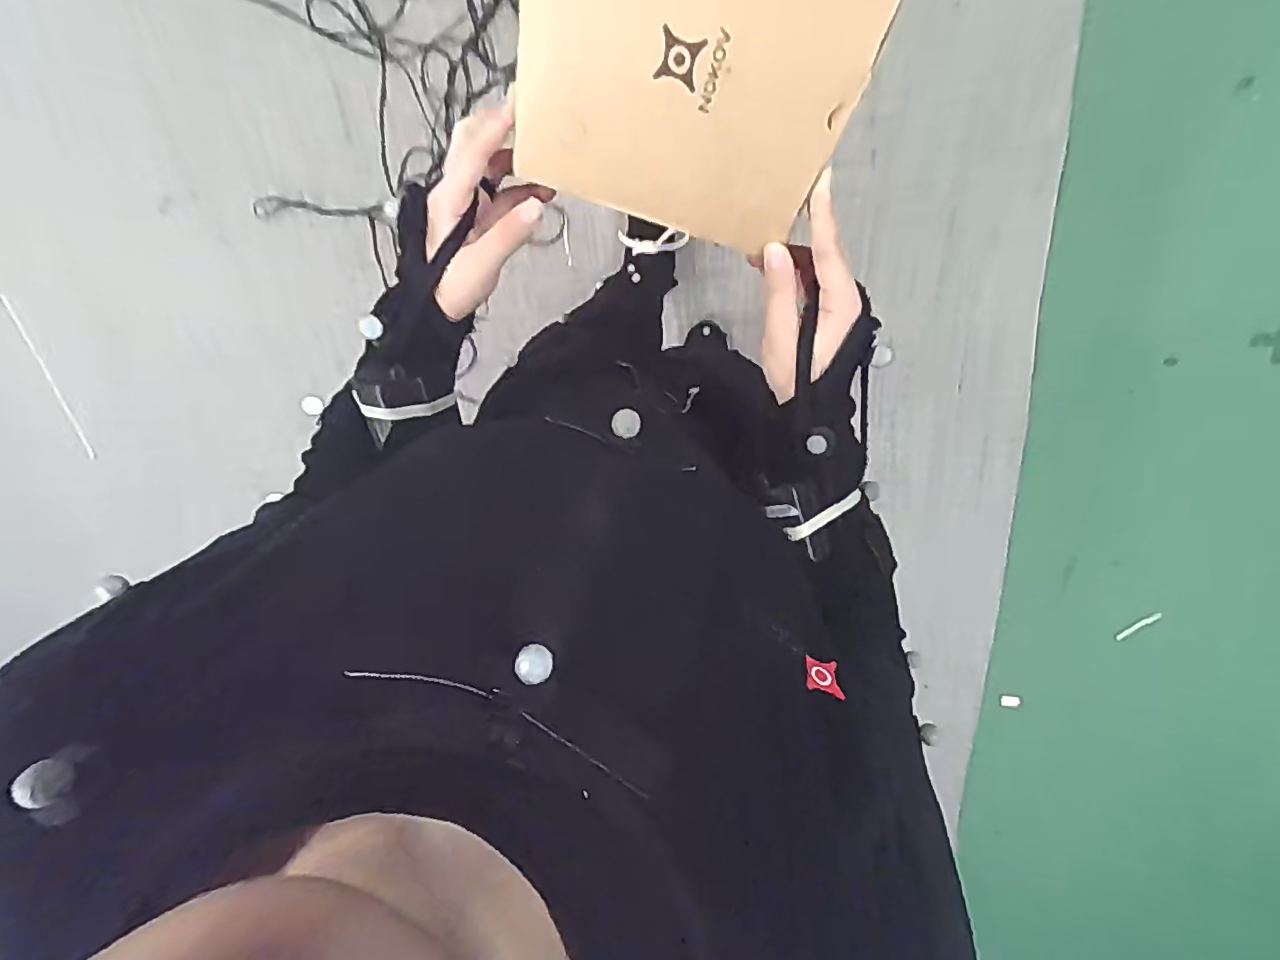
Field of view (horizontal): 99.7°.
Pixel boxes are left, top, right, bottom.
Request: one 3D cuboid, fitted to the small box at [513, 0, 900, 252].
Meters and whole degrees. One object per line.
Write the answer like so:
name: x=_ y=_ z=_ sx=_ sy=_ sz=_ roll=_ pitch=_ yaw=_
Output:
small box: x=0.039 y=-0.275 z=0.322 sx=0.179 sy=0.176 sz=0.168 roll=16 pitch=141 yaw=-4
